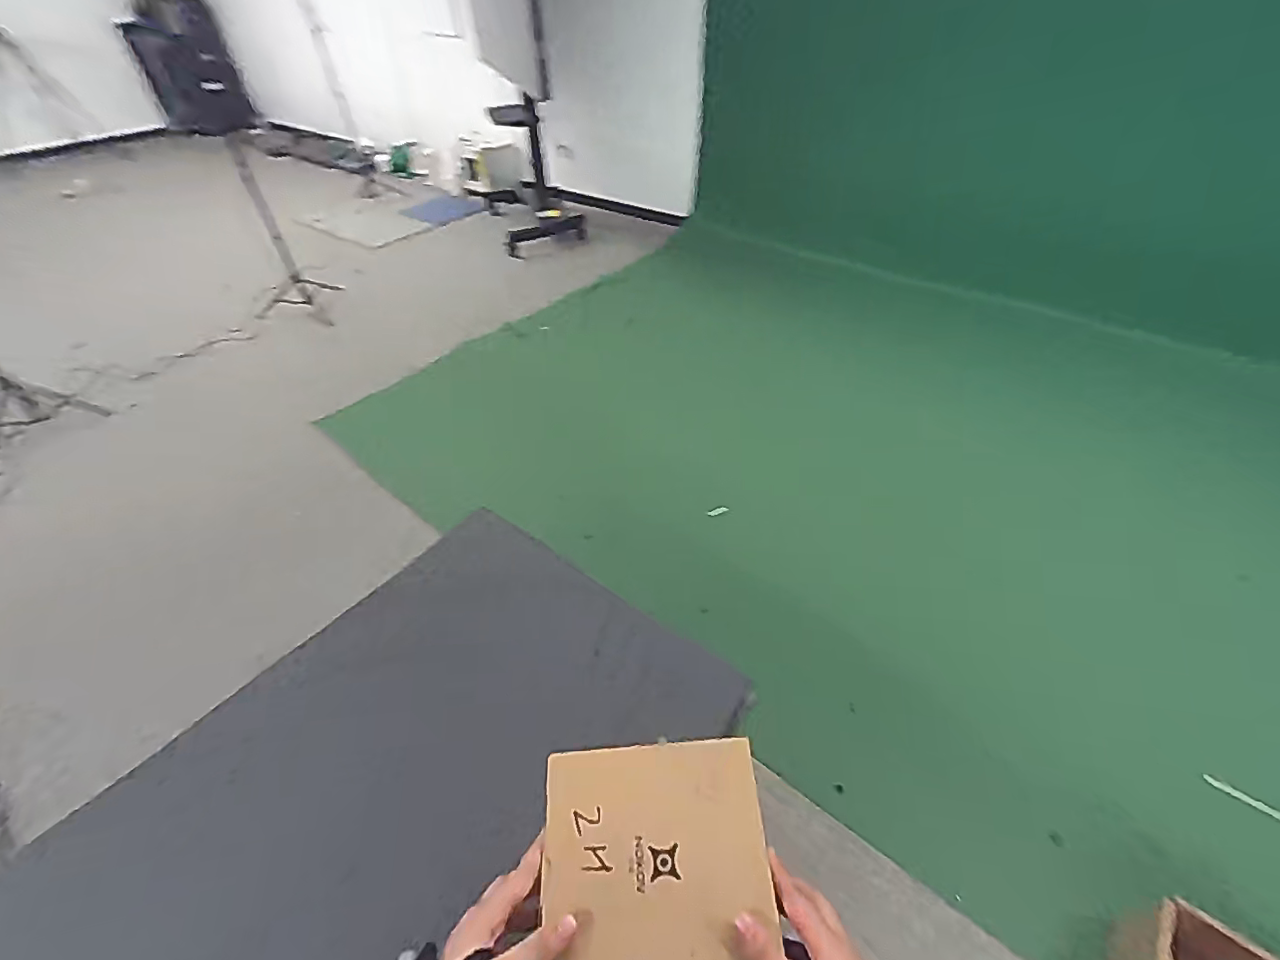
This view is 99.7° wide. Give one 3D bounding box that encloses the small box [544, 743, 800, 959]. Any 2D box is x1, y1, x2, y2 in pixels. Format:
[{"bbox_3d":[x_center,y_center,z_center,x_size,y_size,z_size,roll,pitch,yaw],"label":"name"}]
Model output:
[{"bbox_3d":[0.026,0.335,0.460,0.179,0.176,0.168,-6,50,3],"label":"small box"}]
